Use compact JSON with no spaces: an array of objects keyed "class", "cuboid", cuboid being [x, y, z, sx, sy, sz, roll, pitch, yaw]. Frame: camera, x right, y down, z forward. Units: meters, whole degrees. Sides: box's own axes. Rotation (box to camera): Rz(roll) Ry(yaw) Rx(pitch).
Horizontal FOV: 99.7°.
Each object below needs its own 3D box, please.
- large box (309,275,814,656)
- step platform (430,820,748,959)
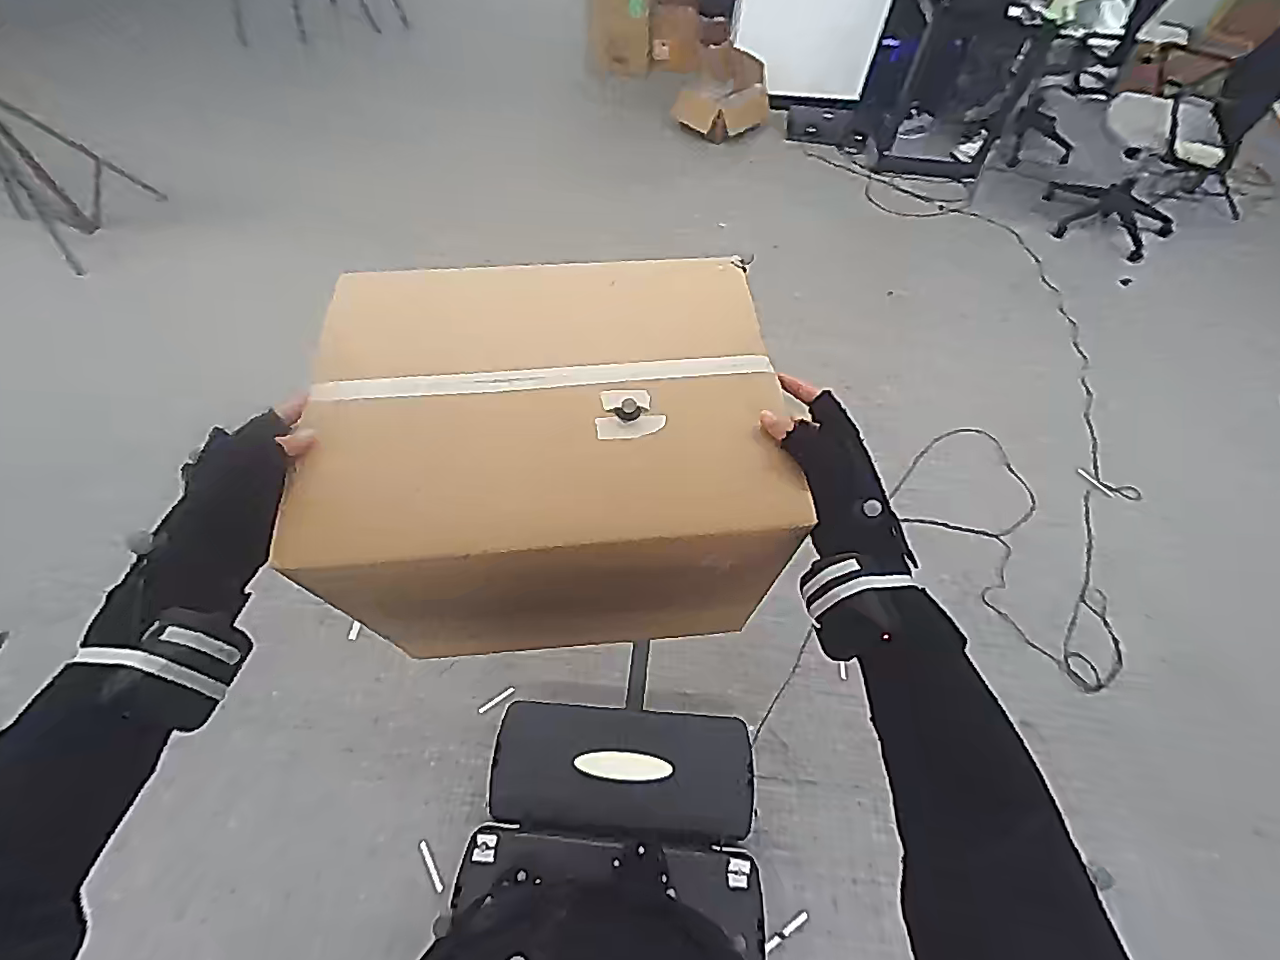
[{"class":"large box","cuboid":[-0.075,-0.003,0.623,0.408,0.320,0.320,-3,61,-4]},{"class":"step platform","cuboid":[-0.103,0.966,1.219,0.684,0.204,0.286,5,57,2]}]
